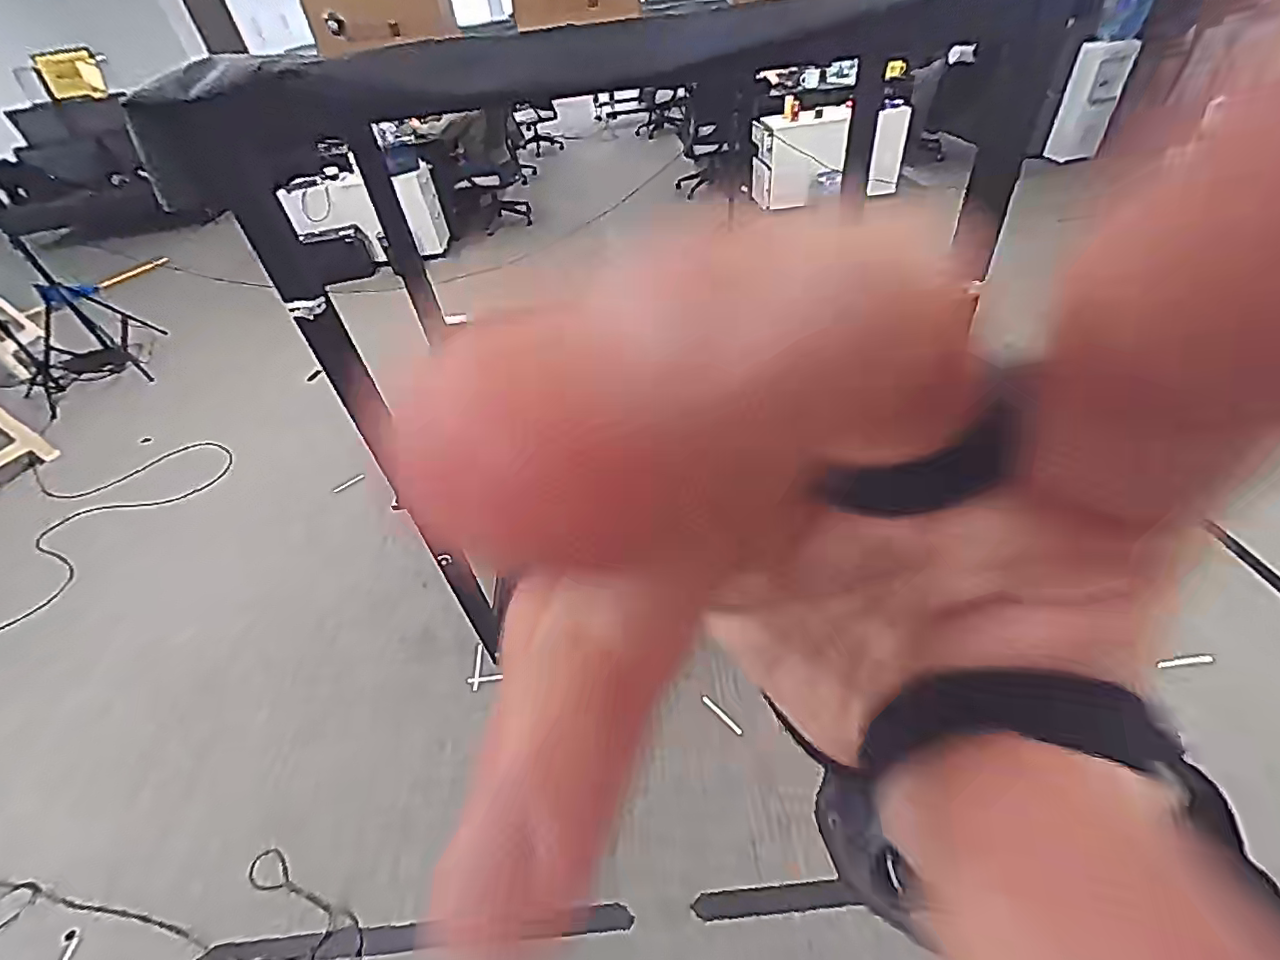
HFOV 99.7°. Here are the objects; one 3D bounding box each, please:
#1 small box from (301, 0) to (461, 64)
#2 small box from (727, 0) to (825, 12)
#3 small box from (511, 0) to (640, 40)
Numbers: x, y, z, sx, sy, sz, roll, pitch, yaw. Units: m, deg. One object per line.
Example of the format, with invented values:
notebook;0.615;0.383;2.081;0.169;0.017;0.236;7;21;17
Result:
small box;-0.347;-0.662;0.709;0.168;0.176;0.179;-8;40;-3
small box;0.201;-0.744;0.719;0.168;0.176;0.179;-2;42;6
small box;-0.094;-0.700;0.718;0.168;0.176;0.179;-8;41;0
